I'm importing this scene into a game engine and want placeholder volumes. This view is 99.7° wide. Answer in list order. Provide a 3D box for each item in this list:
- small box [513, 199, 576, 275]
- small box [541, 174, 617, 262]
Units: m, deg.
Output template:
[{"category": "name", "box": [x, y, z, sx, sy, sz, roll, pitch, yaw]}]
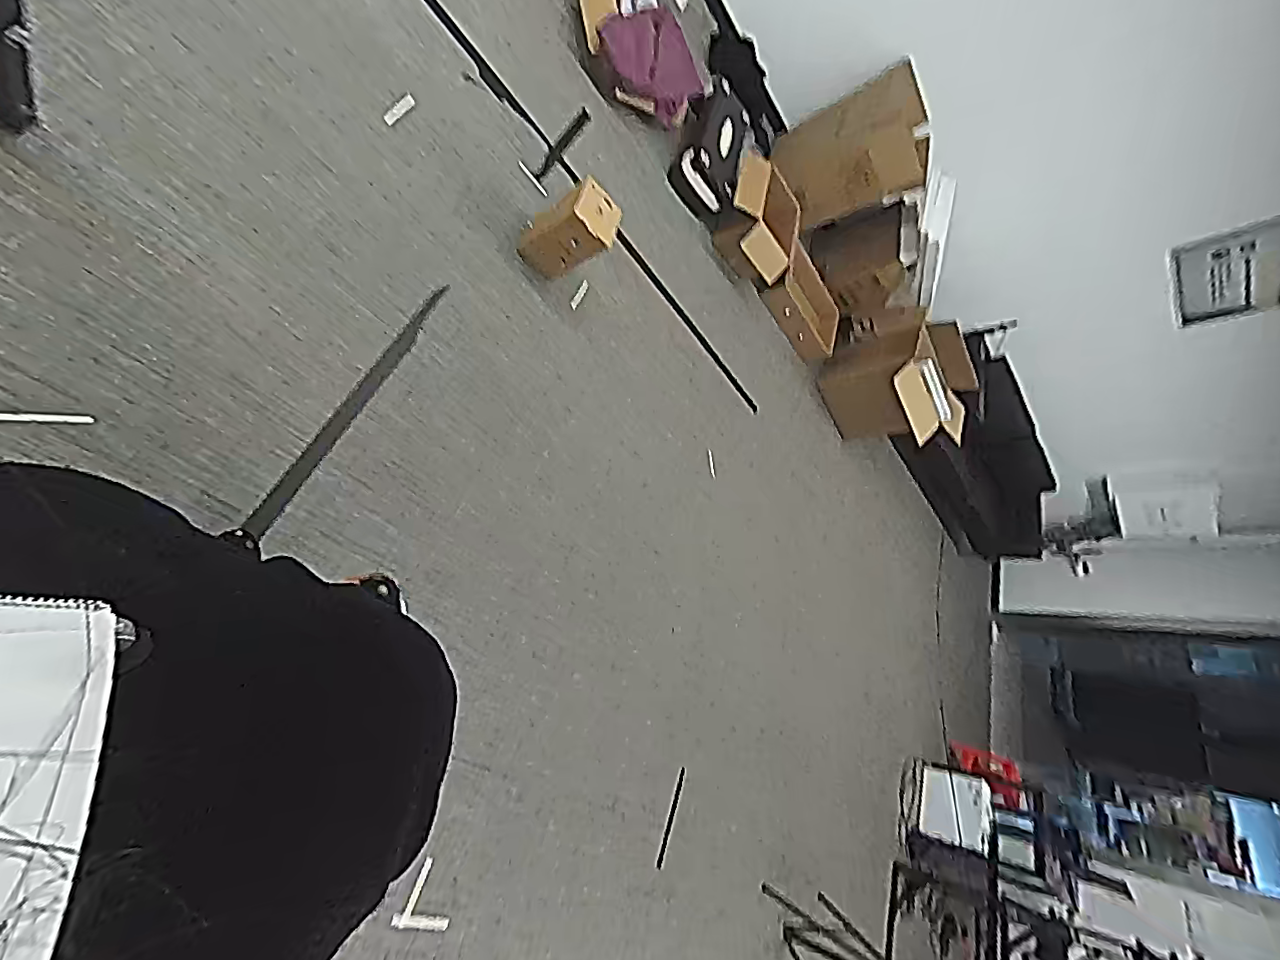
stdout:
[{"category": "small box", "box": [-0.325, -0.869, 1.954, 0.179, 0.176, 0.168, 36, 59, -37]}, {"category": "small box", "box": [-0.211, -0.881, 1.837, 0.168, 0.176, 0.179, 35, 60, -38]}]
